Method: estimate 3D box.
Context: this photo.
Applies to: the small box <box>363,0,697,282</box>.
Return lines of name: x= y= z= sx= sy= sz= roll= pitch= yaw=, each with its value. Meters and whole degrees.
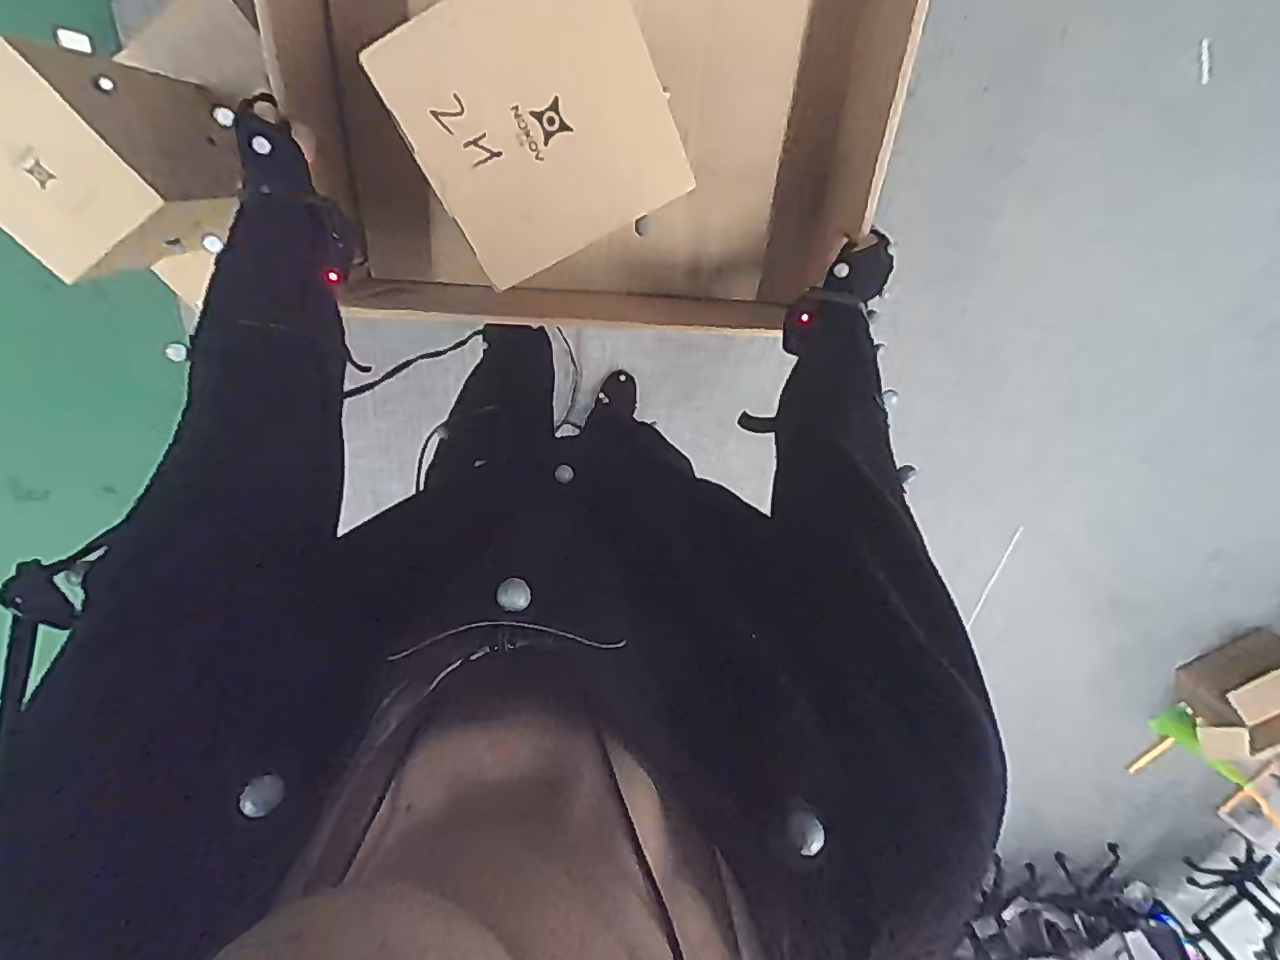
small box: x=-0.076 y=-0.288 z=0.439 sx=0.179 sy=0.176 sz=0.168 roll=-24 pitch=118 yaw=8

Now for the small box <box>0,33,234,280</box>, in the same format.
small box: x=-0.648 y=-0.368 z=0.641 sx=0.168 sy=0.176 sz=0.179 roll=-31 pitch=119 yaw=9

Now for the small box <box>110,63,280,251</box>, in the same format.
small box: x=-0.679 y=-0.447 z=0.780 sx=0.168 sy=0.176 sz=0.179 roll=-29 pitch=120 yaw=7
